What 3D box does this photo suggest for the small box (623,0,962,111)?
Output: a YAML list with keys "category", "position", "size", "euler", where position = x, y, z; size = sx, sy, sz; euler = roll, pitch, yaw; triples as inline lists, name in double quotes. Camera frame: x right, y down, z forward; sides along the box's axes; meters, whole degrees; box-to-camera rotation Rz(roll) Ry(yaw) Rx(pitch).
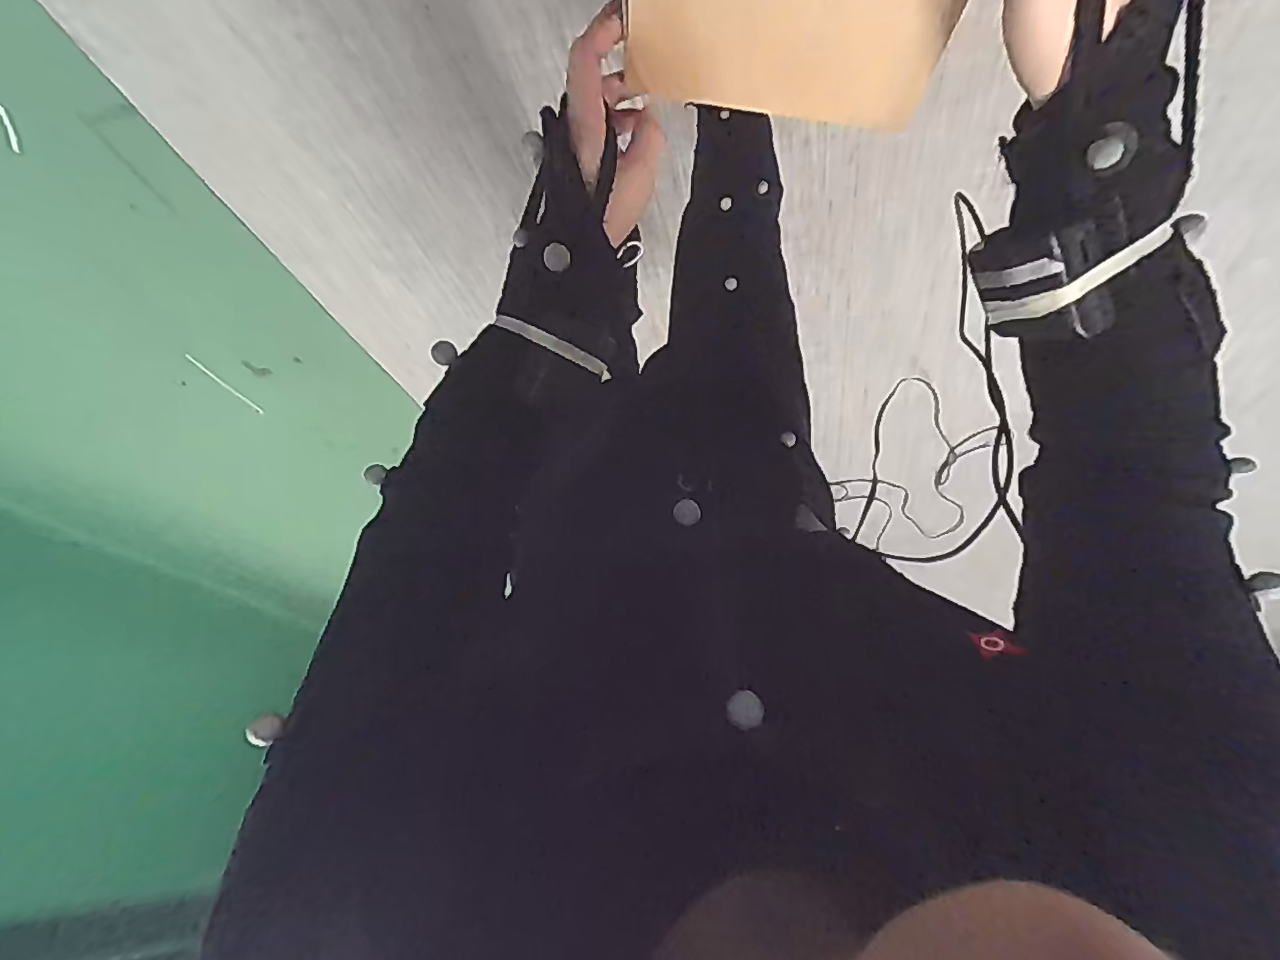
- category: "small box"
  position: [0.091, -0.338, 0.280]
  size: [0.179, 0.176, 0.168]
  euler: [11, 158, 3]
